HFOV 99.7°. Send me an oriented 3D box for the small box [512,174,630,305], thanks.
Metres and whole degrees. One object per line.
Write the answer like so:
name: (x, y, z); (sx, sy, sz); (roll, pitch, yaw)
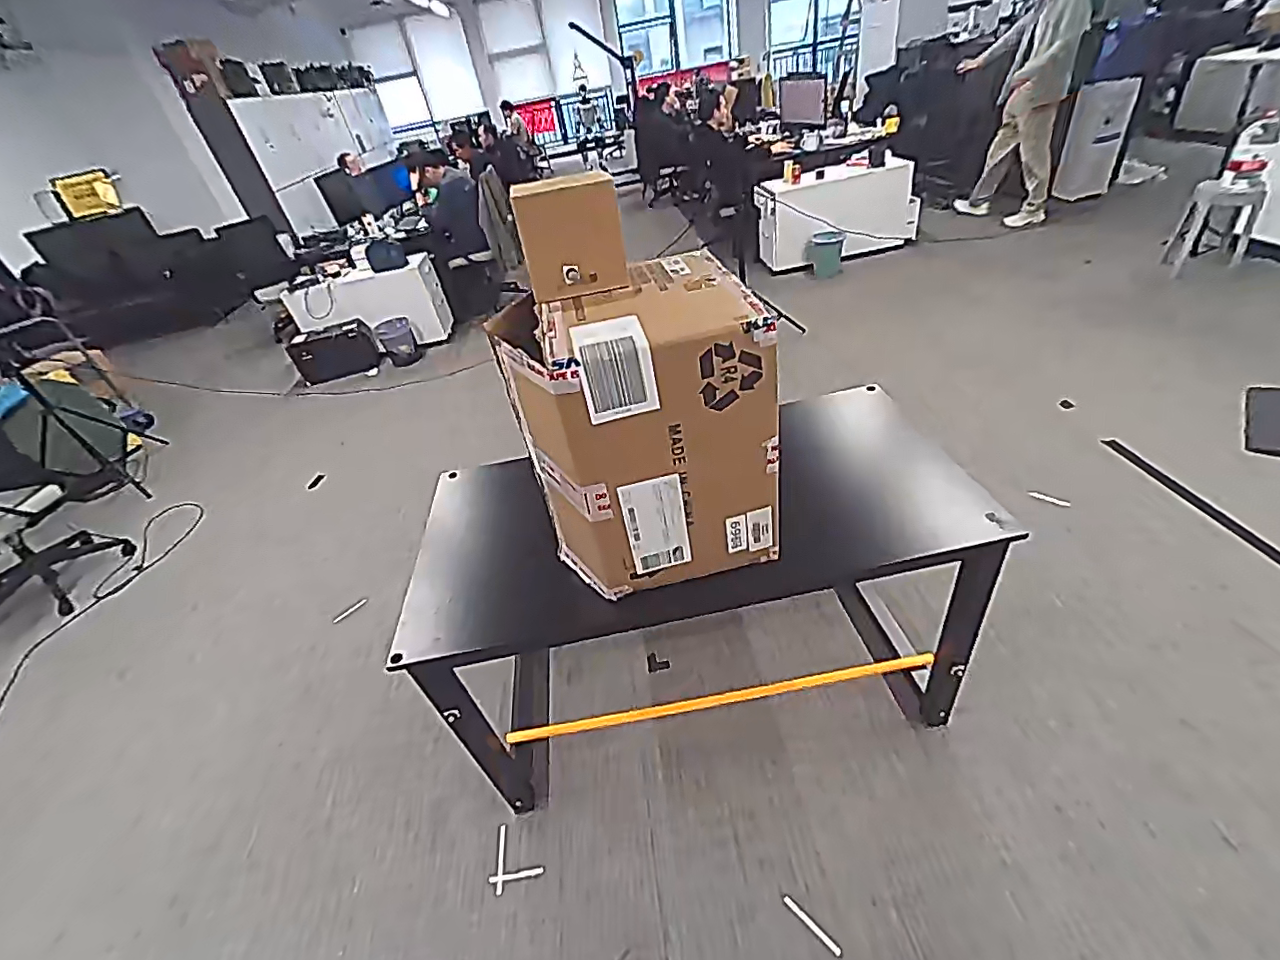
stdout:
small box: (-0.121, -0.420, 0.944); (0.168, 0.176, 0.179); (-14, 35, -4)
